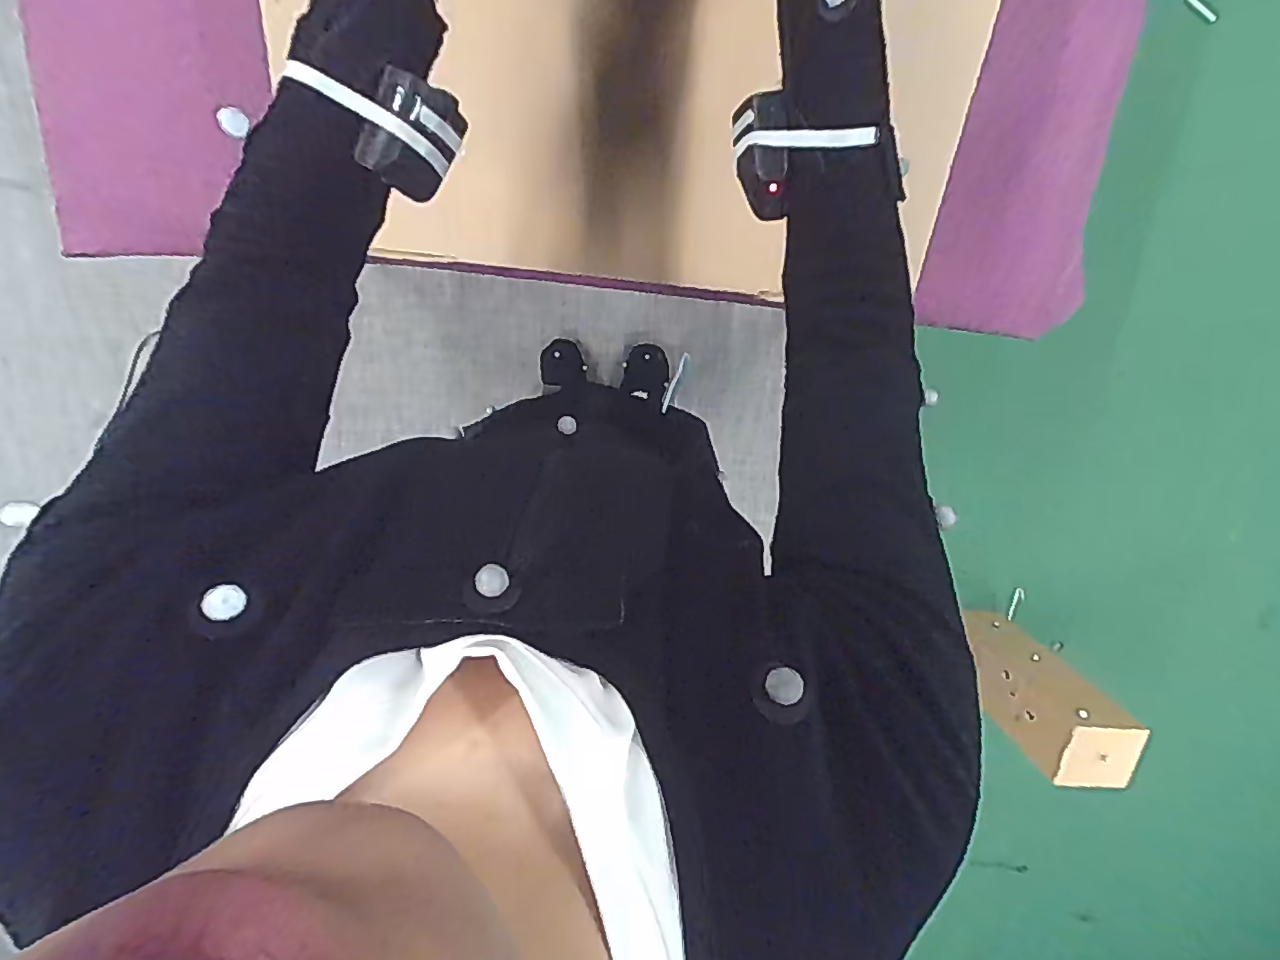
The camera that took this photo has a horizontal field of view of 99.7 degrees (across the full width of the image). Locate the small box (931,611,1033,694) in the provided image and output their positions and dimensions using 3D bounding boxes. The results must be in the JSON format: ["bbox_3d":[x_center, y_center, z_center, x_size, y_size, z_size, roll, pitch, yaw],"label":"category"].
[{"bbox_3d":[1.000,0.504,1.600,0.179,0.176,0.168,6,107,-4],"label":"small box"}]

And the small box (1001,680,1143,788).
[{"bbox_3d":[1.014,0.599,1.286,0.179,0.176,0.168,4,107,-3],"label":"small box"}]
